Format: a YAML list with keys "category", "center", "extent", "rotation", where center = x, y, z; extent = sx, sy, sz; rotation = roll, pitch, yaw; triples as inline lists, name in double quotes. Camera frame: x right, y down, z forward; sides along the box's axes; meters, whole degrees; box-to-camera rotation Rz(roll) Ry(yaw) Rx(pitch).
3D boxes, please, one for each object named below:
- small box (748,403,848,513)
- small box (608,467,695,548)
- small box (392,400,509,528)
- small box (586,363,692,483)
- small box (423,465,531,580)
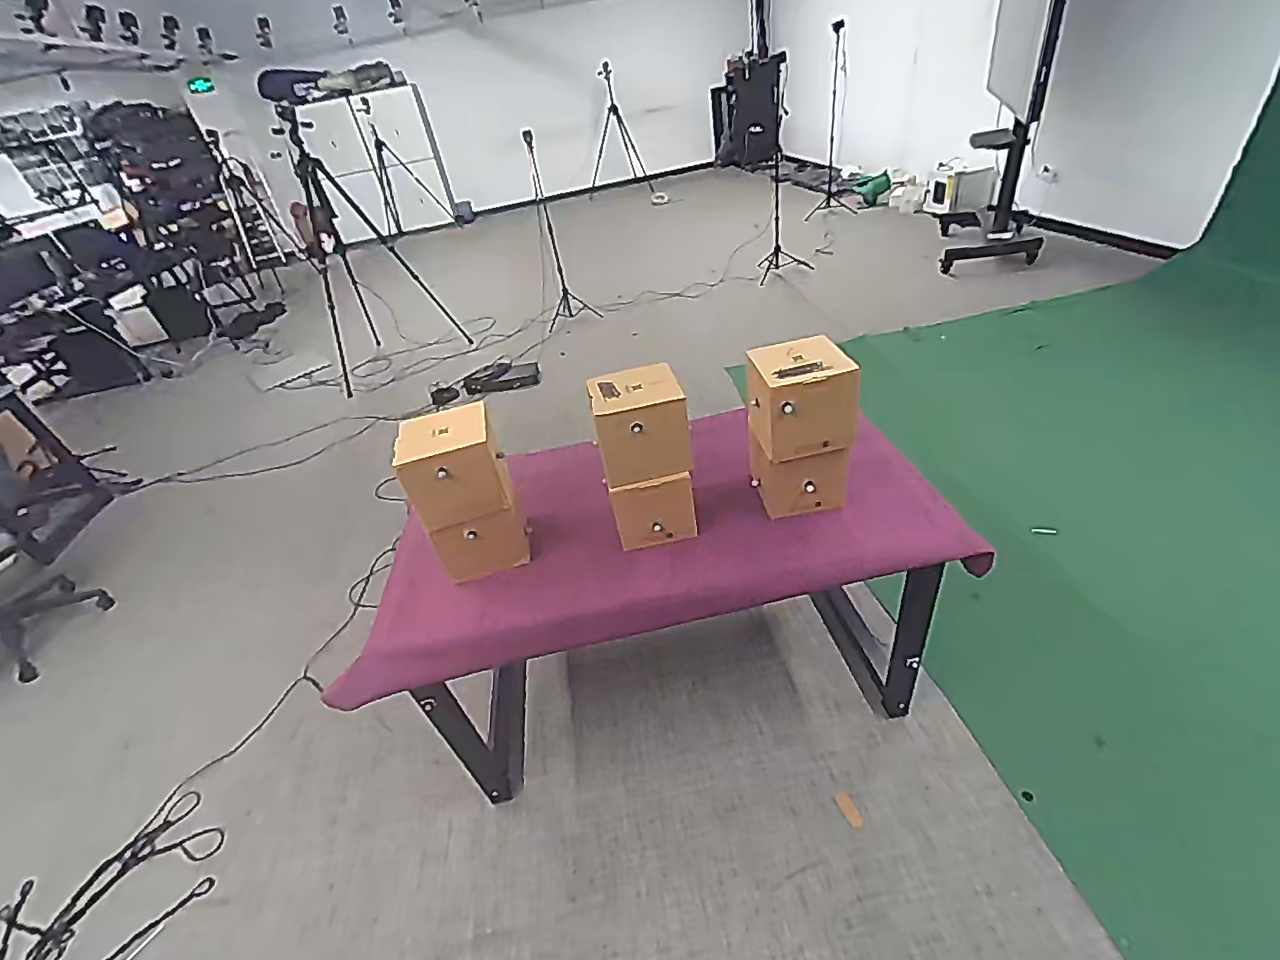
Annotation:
- category: "small box"
  center: [0.341, -0.042, 1.185]
  extent: [0.168, 0.176, 0.179]
  rotation: [-10, 37, 2]
- category: "small box"
  center: [0.021, 0.022, 1.183]
  extent: [0.168, 0.176, 0.179]
  rotation: [-11, 37, 0]
- category: "small box"
  center: [-0.369, -0.031, 1.085]
  extent: [0.179, 0.176, 0.168]
  rotation: [-16, 38, -6]
- category: "small box"
  center: [-0.002, -0.113, 1.093]
  extent: [0.179, 0.176, 0.168]
  rotation: [-12, 36, -3]
- category: "small box"
  center: [-0.350, 0.095, 1.185]
  extent: [0.179, 0.176, 0.168]
  rotation: [-14, 38, -5]
